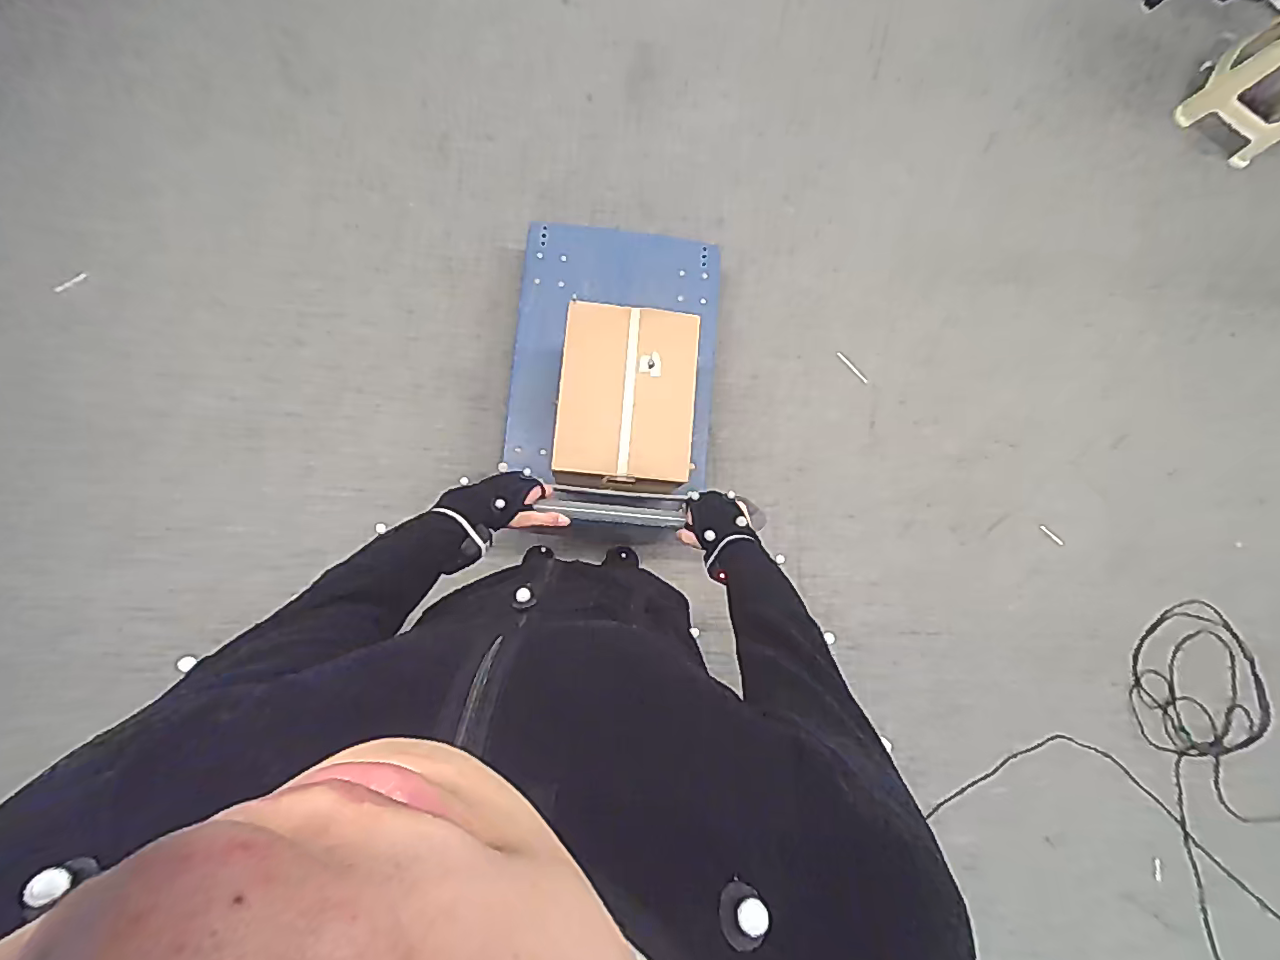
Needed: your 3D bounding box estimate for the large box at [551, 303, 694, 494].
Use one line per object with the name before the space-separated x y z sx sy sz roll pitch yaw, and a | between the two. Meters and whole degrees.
large box | -0.048 -0.184 1.387 0.320 0.320 0.408 5 81 -6
